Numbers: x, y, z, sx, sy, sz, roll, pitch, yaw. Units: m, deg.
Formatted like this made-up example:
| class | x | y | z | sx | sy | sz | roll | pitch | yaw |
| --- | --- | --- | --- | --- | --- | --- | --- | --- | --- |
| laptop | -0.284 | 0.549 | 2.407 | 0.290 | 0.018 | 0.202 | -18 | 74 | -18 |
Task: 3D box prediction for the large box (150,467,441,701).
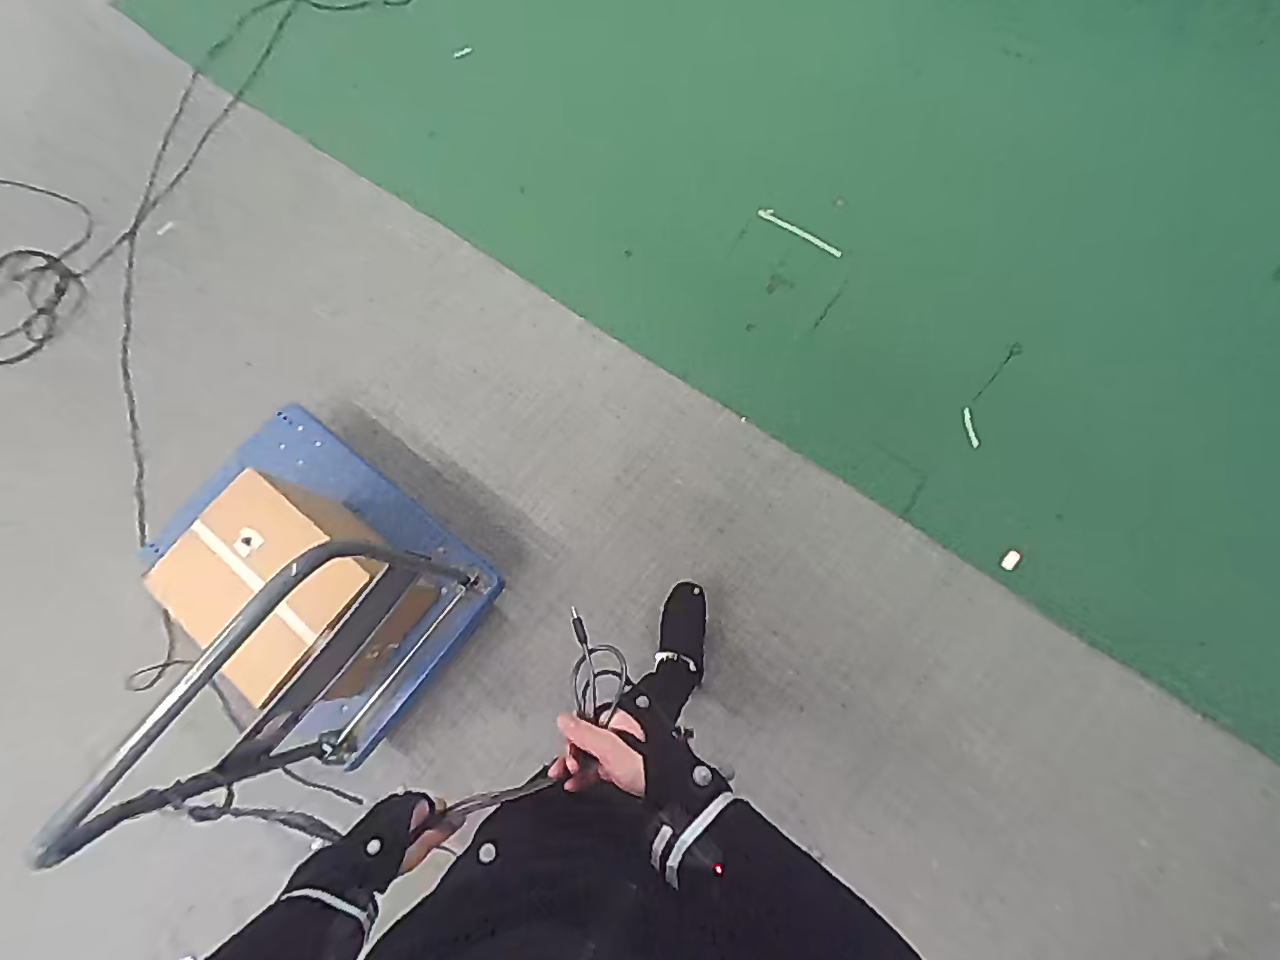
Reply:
| class | x | y | z | sx | sy | sz | roll | pitch | yaw |
| --- | --- | --- | --- | --- | --- | --- | --- | --- | --- |
| large box | -0.753 | 0.239 | 1.234 | 0.408 | 0.320 | 0.320 | 35 | 79 | 16 |
